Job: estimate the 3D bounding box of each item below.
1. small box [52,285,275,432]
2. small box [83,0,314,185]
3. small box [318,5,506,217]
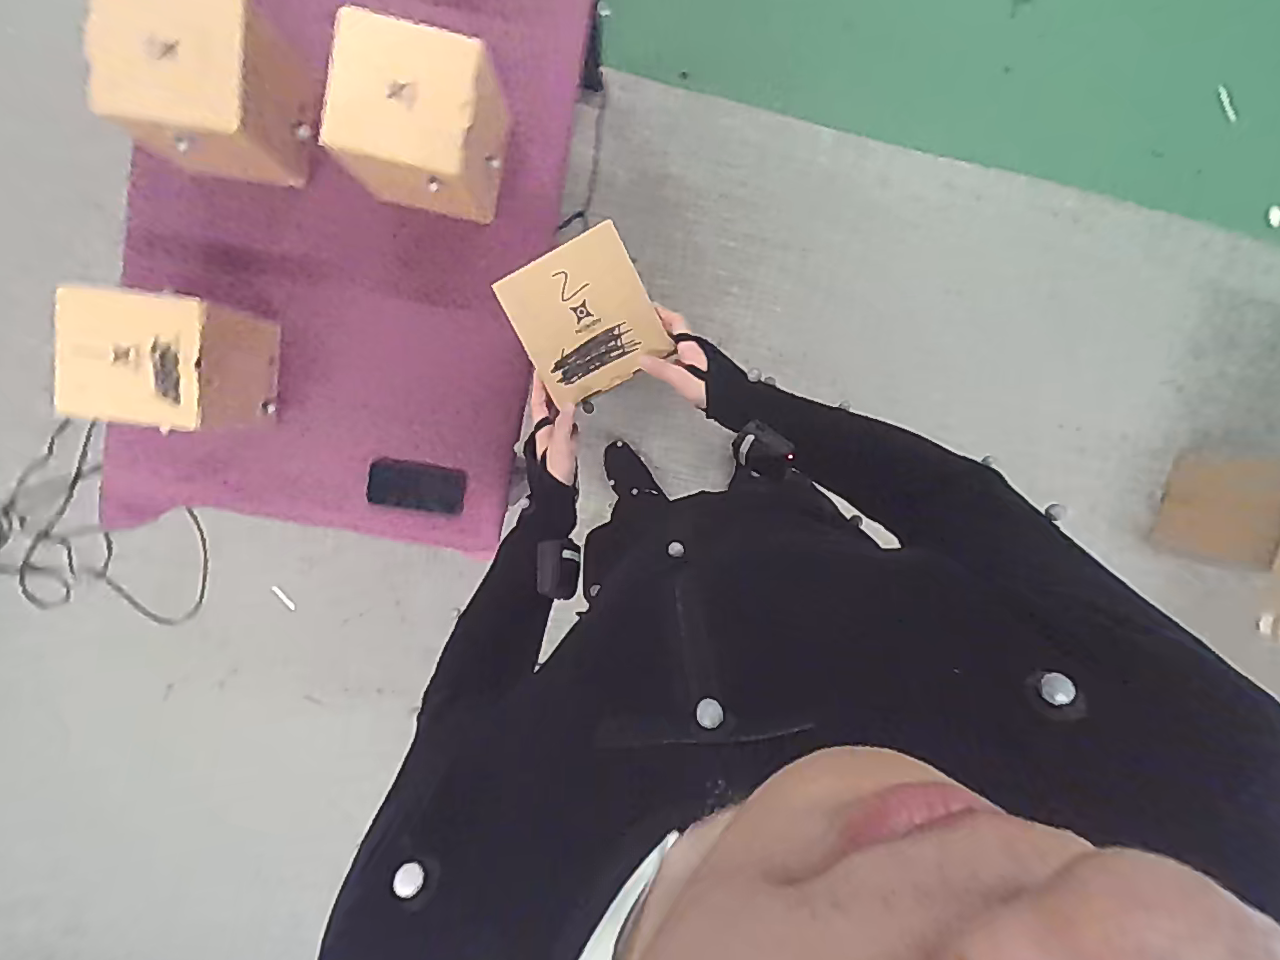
[{"bbox_3d":[-0.647,-0.159,0.756,0.179,0.176,0.168,6,95,-3],"label":"small box"},{"bbox_3d":[-0.577,-0.522,0.725,0.179,0.176,0.168,6,96,-5],"label":"small box"},{"bbox_3d":[-0.300,-0.487,0.744,0.179,0.176,0.168,11,95,-3],"label":"small box"}]
